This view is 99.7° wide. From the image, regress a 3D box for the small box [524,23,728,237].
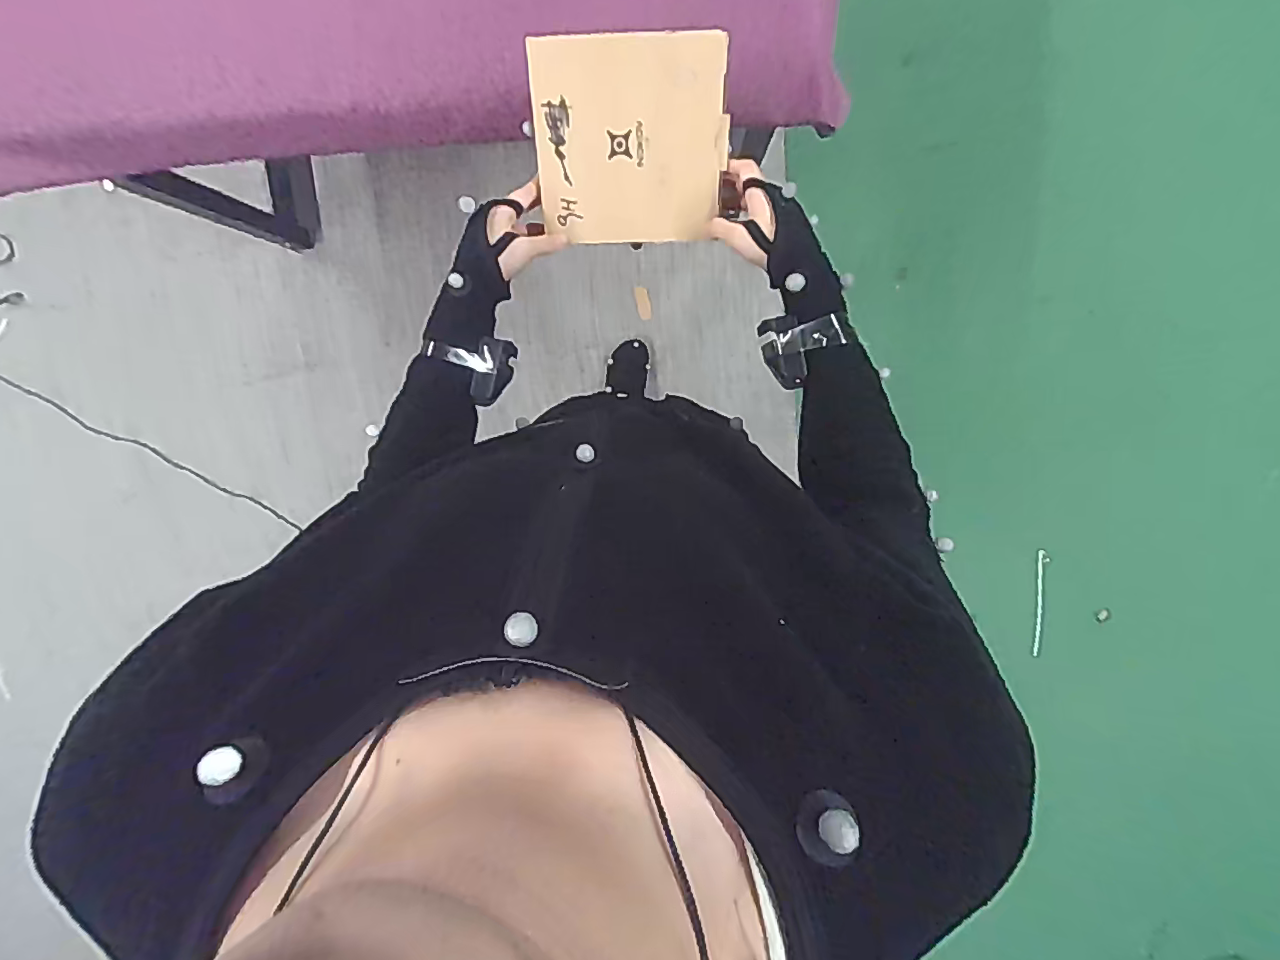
[{"bbox_3d":[-0.011,-0.348,0.560,0.179,0.176,0.168,0,118,1],"label":"small box"}]
